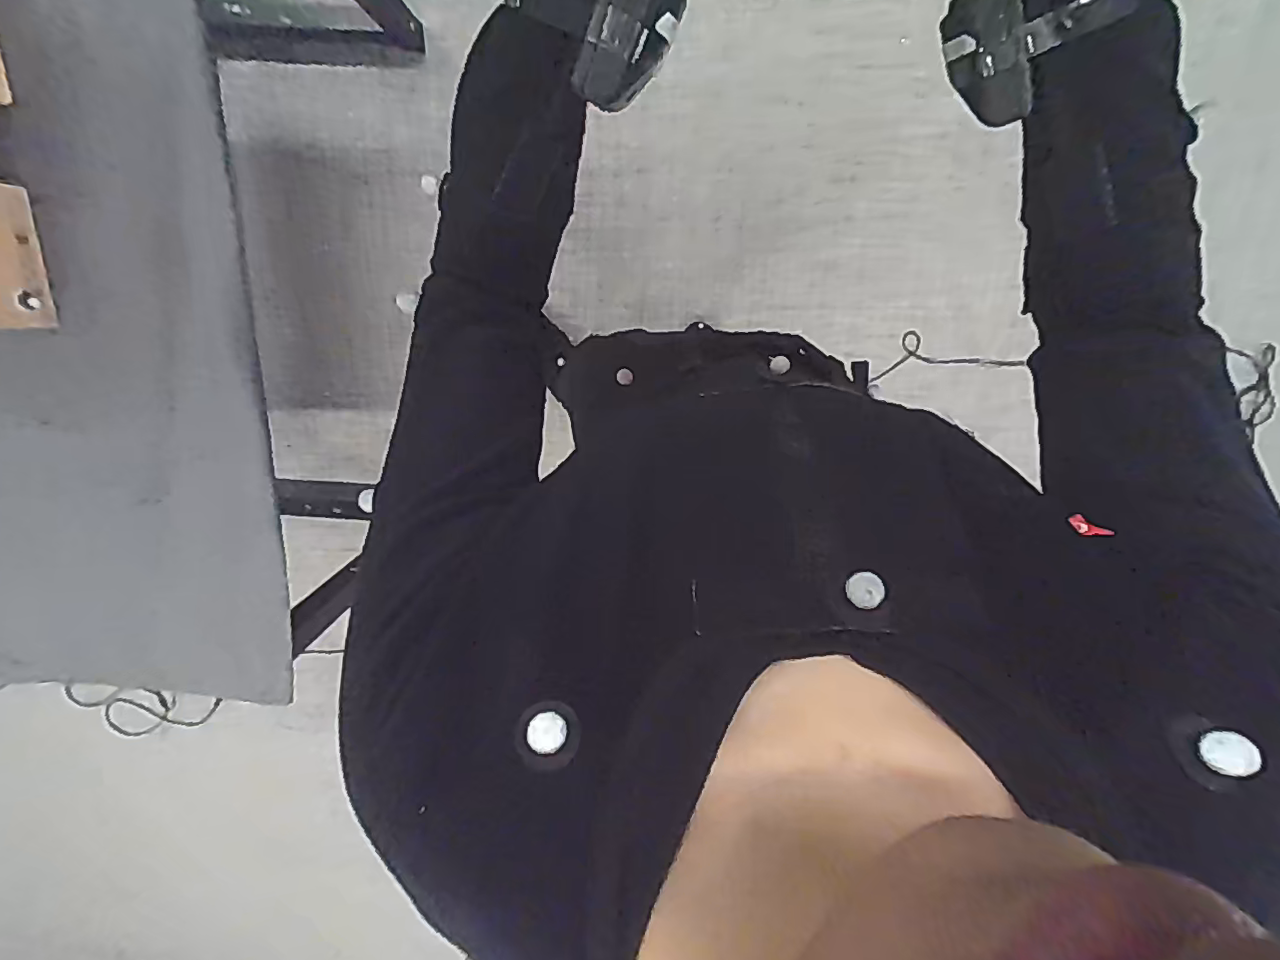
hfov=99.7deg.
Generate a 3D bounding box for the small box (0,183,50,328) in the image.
[{"bbox_3d":[-0.827,-0.258,0.601,0.179,0.176,0.168,5,107,2],"label":"small box"}]
